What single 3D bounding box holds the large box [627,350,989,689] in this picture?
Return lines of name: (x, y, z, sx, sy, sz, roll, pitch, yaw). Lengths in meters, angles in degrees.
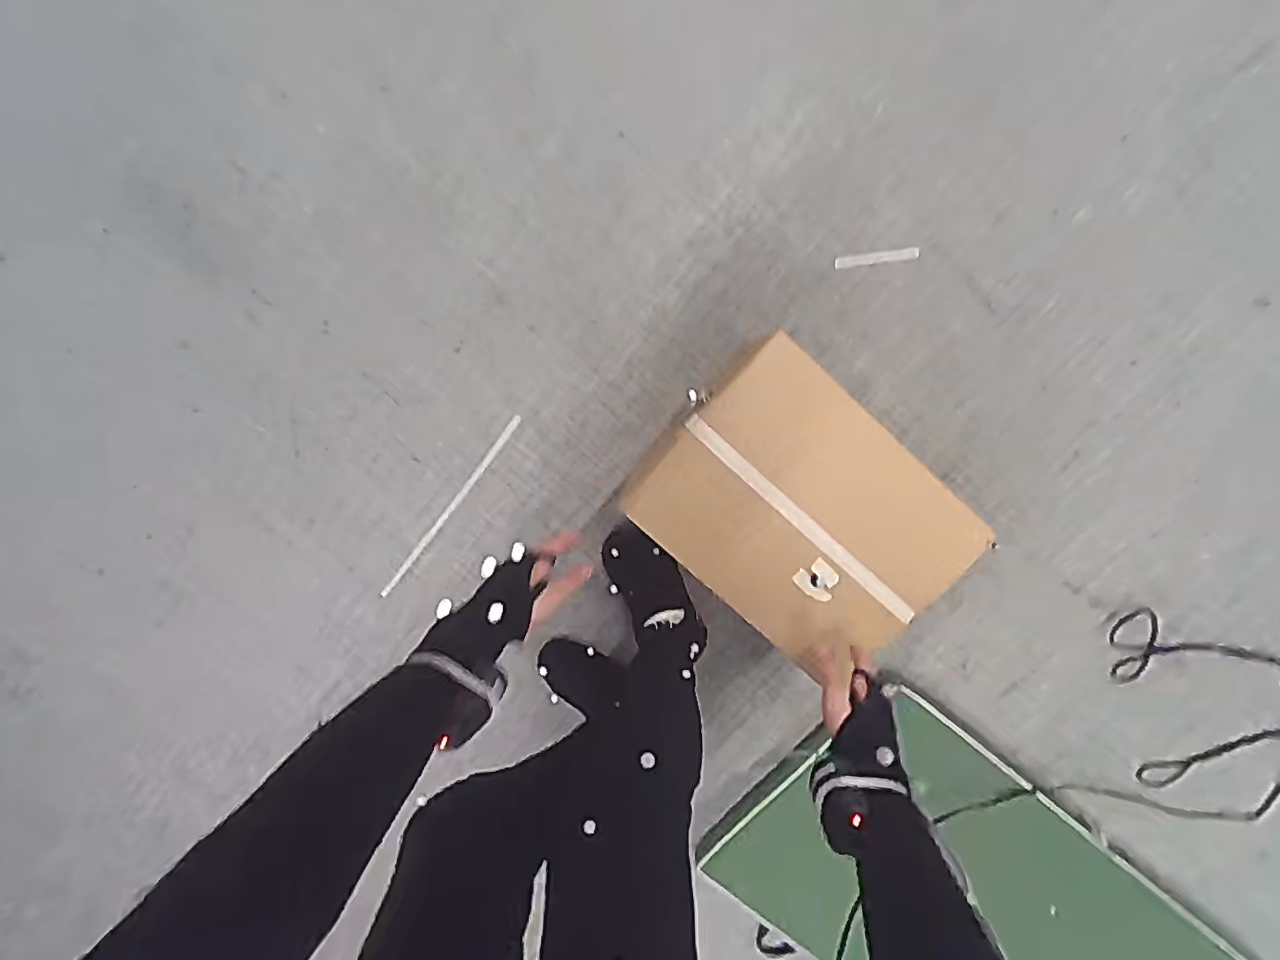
large box: (0.232, 0.039, 0.884, 0.408, 0.320, 0.320, 42, 101, -5)
